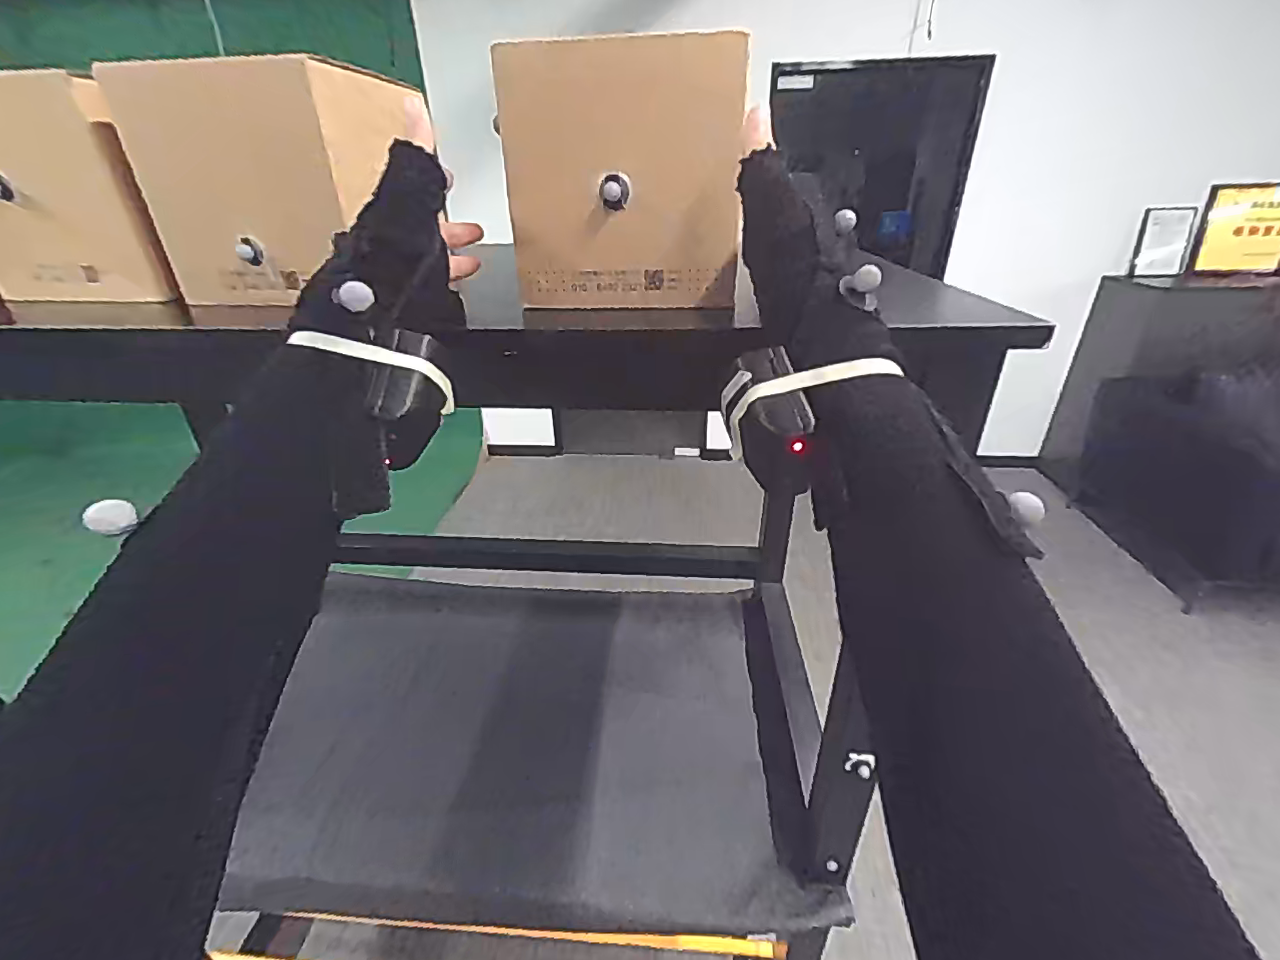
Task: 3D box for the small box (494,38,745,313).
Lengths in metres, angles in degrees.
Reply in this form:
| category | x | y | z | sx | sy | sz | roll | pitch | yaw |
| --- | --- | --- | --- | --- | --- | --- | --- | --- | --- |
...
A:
| category | x | y | z | sx | sy | sz | roll | pitch | yaw |
| --- | --- | --- | --- | --- | --- | --- | --- | --- | --- |
| small box | -0.004 | -0.239 | 0.451 | 0.168 | 0.176 | 0.179 | 2 | 28 | 5 |

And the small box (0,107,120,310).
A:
| category | x | y | z | sx | sy | sz | roll | pitch | yaw |
| --- | --- | --- | --- | --- | --- | --- | --- | --- | --- |
| small box | -0.680 | -0.268 | 0.533 | 0.168 | 0.176 | 0.179 | 2 | 30 | 6 |
